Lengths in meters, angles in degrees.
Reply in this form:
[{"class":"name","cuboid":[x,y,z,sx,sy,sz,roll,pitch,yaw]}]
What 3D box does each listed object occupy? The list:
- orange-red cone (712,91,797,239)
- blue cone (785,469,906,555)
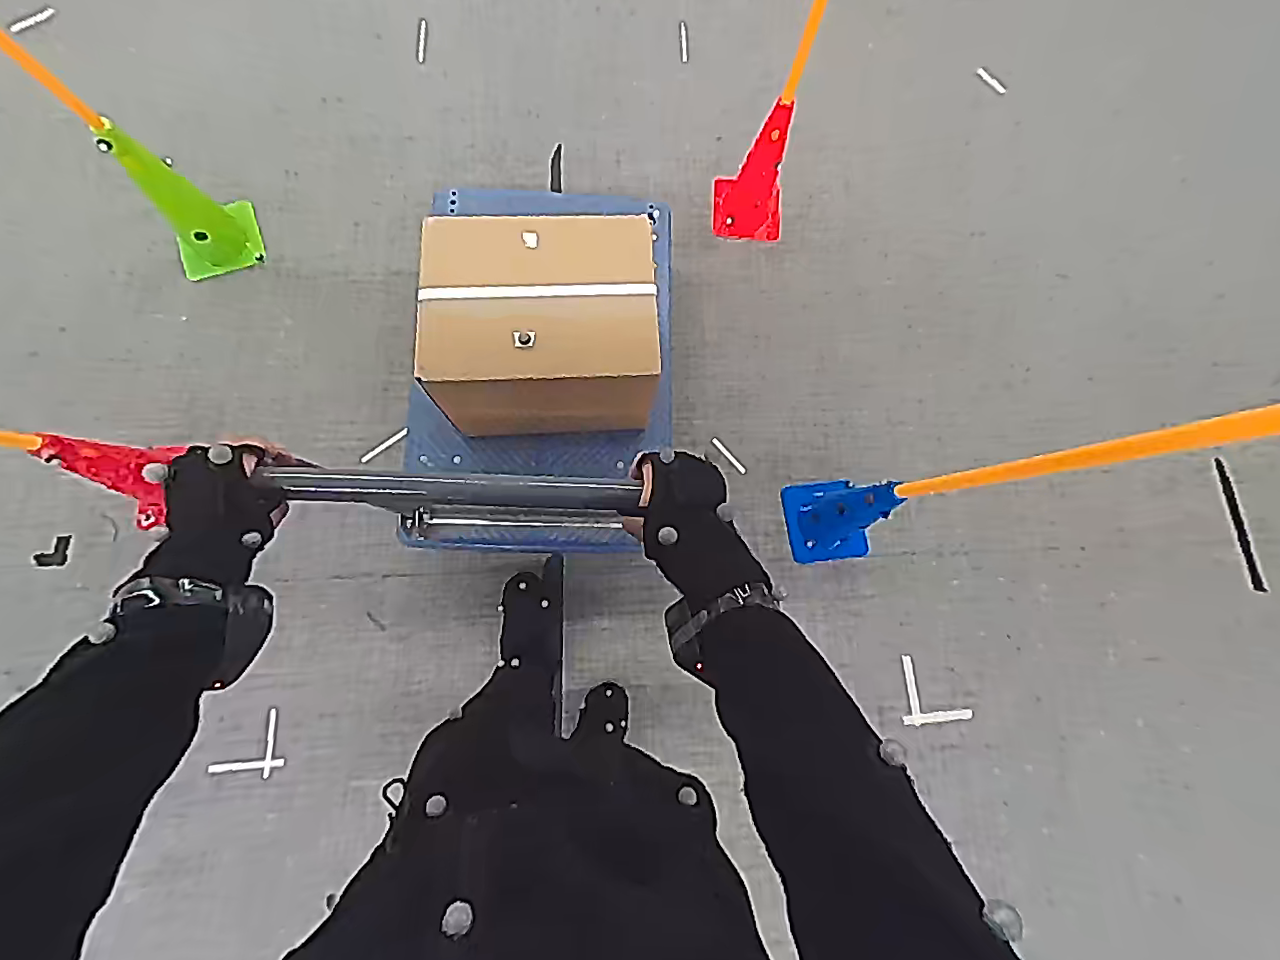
[{"class":"orange-red cone","cuboid":[0.326,-0.828,1.393,0.199,0.360,0.198,6,77,-4]},{"class":"blue cone","cuboid":[0.484,0.051,1.212,0.193,0.380,0.192,-5,76,-6]}]
